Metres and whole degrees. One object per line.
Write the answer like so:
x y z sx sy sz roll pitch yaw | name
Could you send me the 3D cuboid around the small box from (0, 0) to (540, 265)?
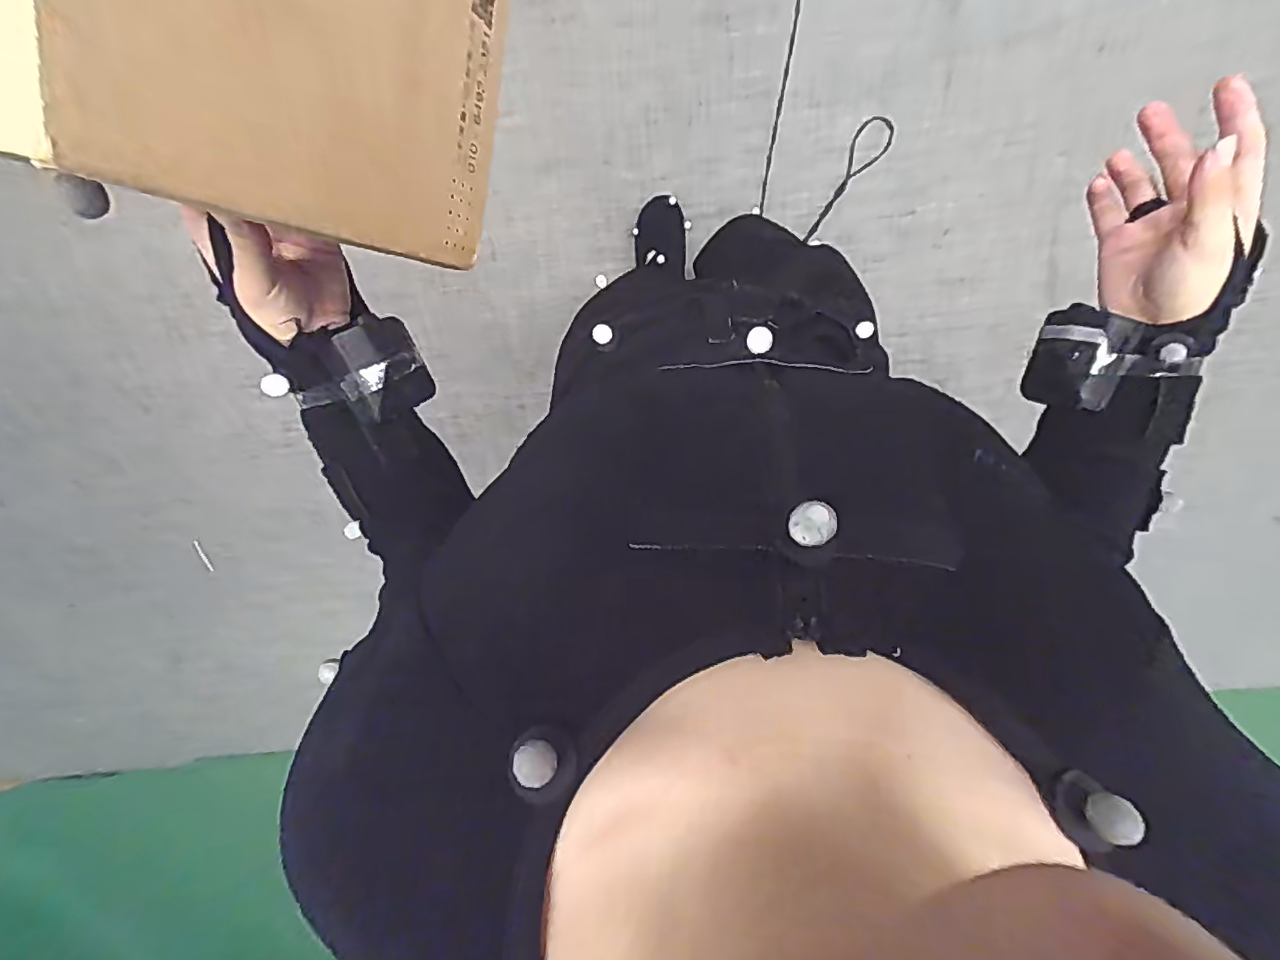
-0.156 -0.185 0.193 0.179 0.176 0.168 16 108 12 | small box
